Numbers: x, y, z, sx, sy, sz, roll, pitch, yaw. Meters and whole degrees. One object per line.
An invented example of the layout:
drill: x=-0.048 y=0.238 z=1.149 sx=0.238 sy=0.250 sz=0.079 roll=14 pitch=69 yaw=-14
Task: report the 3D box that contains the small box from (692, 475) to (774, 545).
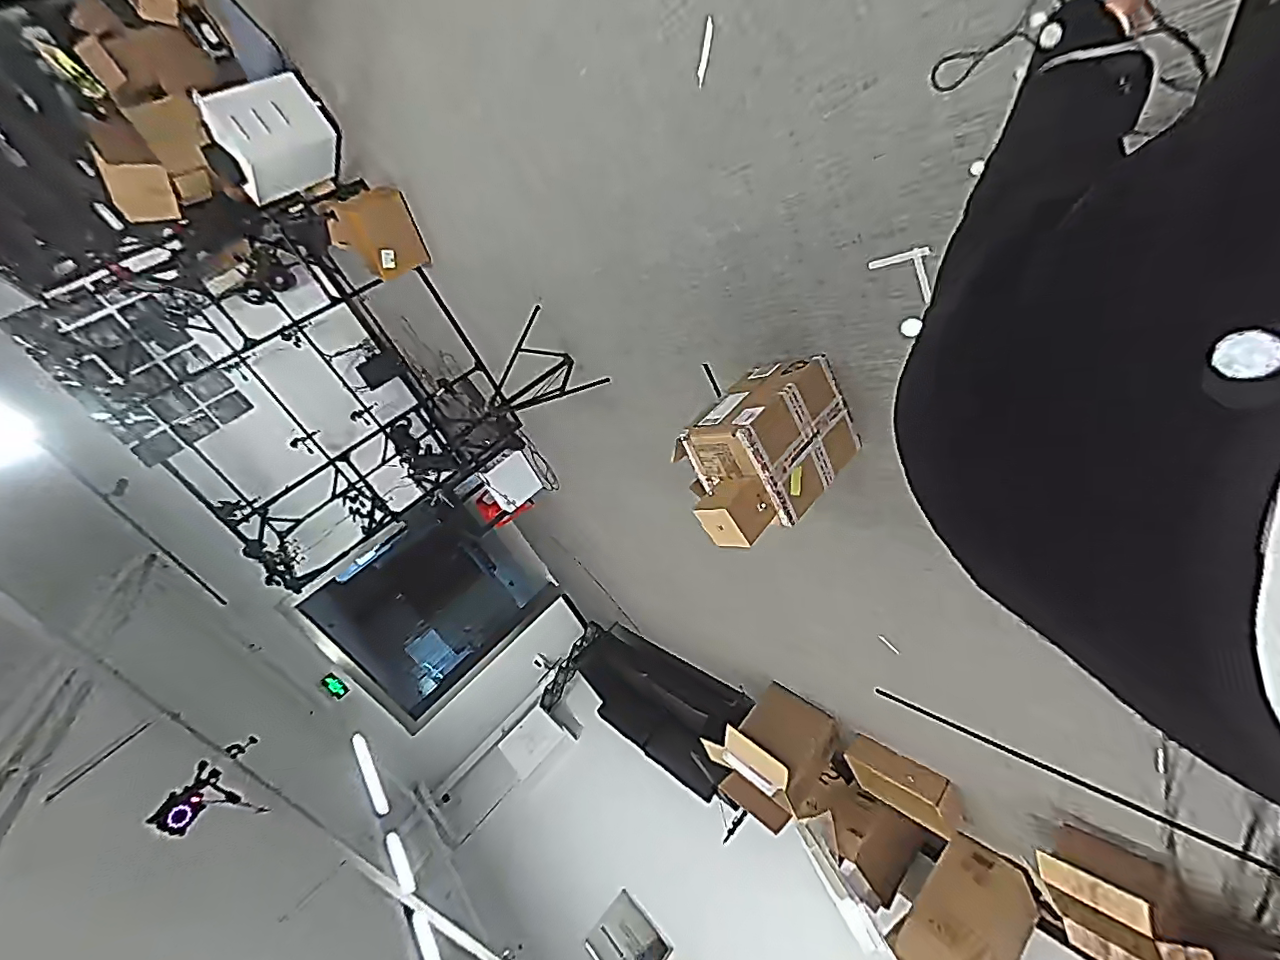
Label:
small box: x=0.318 y=0.100 z=1.824 sx=0.168 sy=0.176 sz=0.179 roll=54 pitch=150 yaw=-16
